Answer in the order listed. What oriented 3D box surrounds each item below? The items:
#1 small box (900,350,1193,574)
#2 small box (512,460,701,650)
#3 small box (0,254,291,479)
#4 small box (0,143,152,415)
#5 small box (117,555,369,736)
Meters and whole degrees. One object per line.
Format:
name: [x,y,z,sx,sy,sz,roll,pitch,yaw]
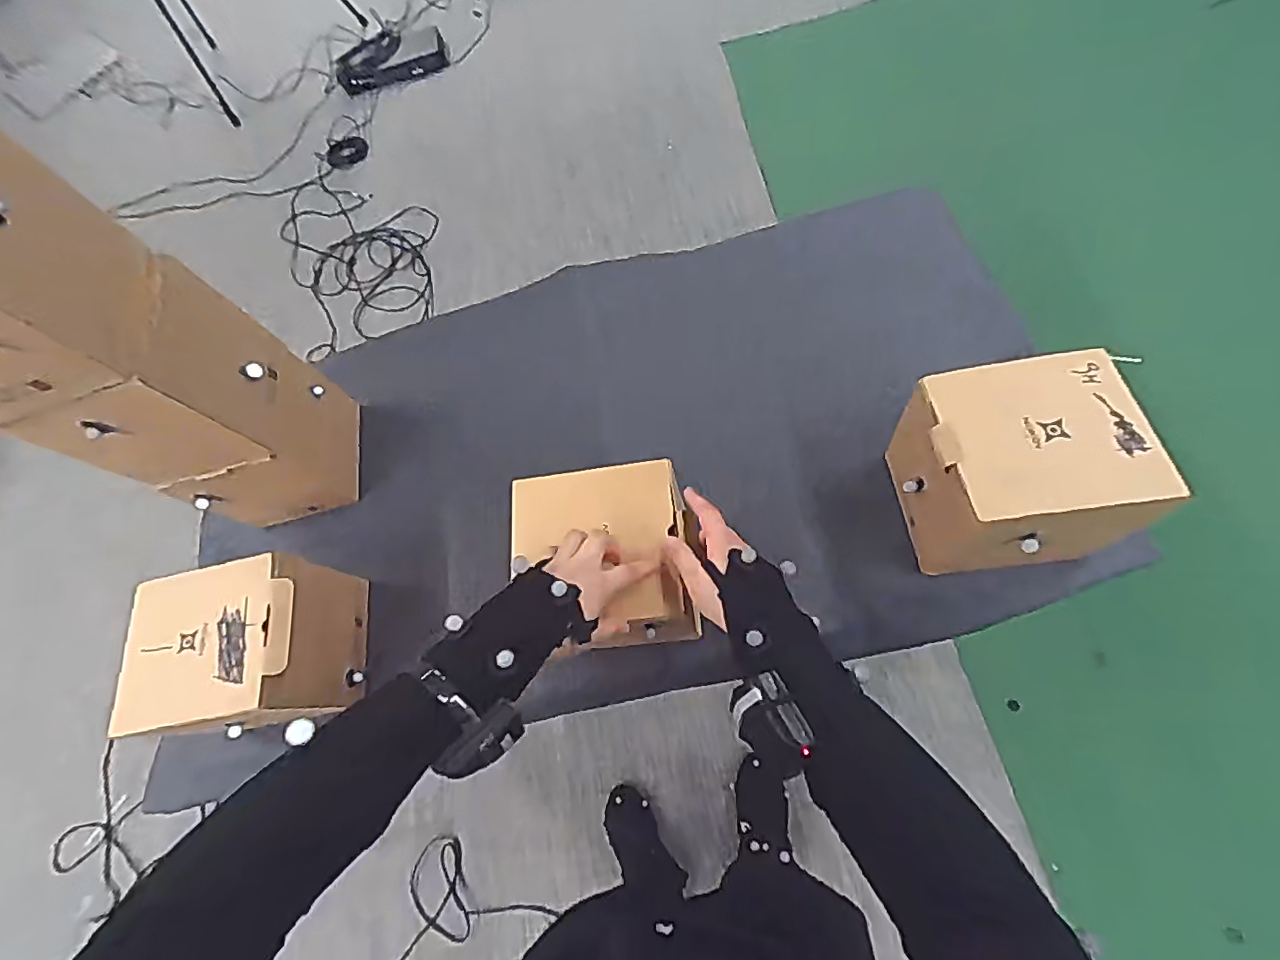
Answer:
small box: [0.392,-0.007,0.571,0.179,0.176,0.168,-8,63,8]
small box: [-0.031,0.096,0.618,0.179,0.176,0.168,-8,66,7]
small box: [-0.544,-0.116,0.615,0.179,0.176,0.168,-13,68,5]
small box: [-0.578,-0.173,0.467,0.168,0.176,0.179,-17,66,2]
small box: [-0.455,0.201,0.653,0.179,0.176,0.168,-13,67,6]
